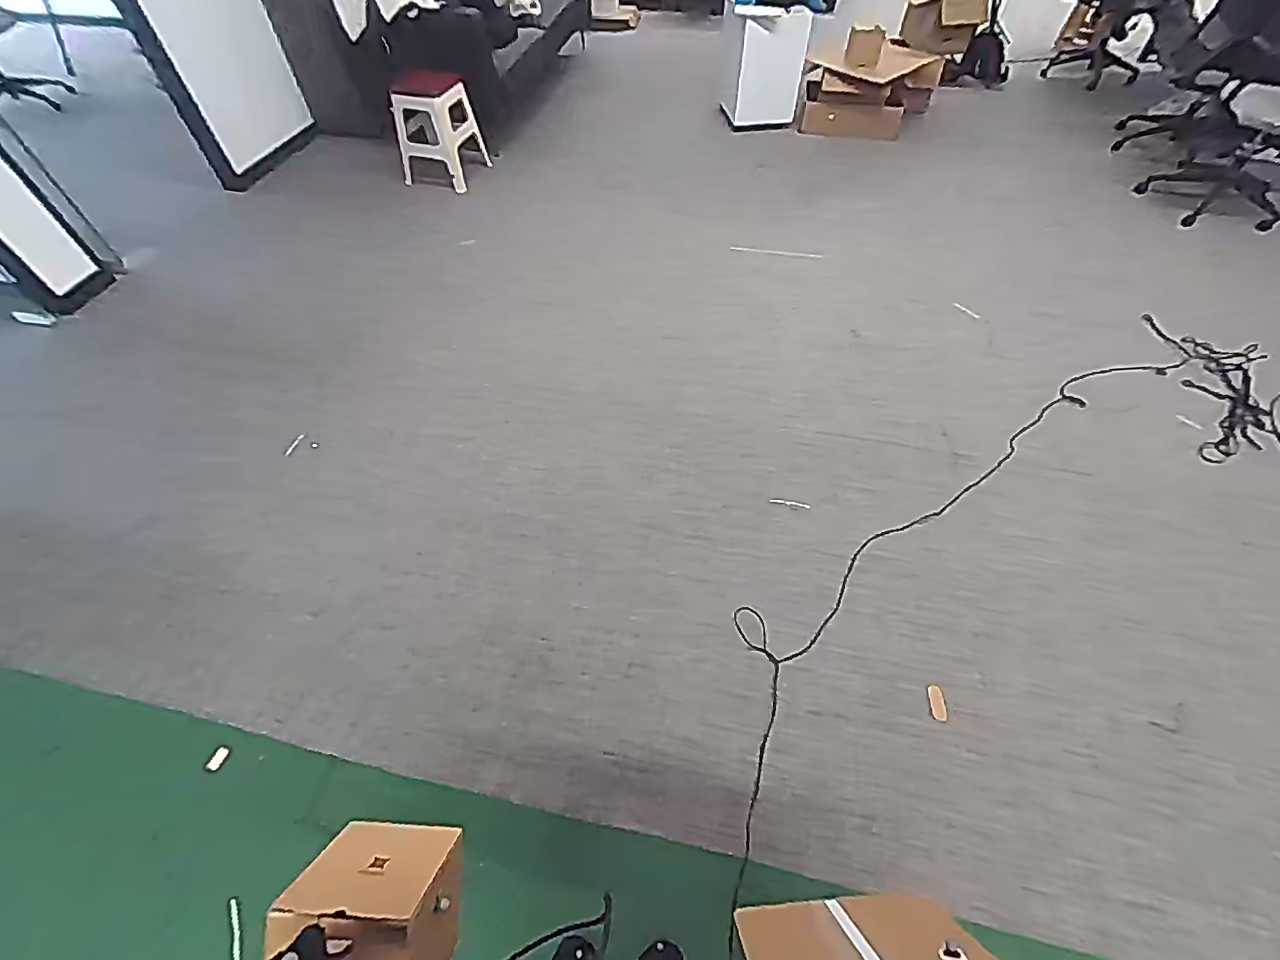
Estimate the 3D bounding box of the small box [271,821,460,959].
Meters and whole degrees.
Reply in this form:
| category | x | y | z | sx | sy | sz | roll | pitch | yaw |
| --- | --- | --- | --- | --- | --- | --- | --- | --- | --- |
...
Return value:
| category | x | y | z | sx | sy | sz | roll | pitch | yaw |
| --- | --- | --- | --- | --- | --- | --- | --- | --- | --- |
| small box | -0.347 | 0.579 | 0.696 | 0.168 | 0.179 | 0.176 | 3 | 88 | 1 |
